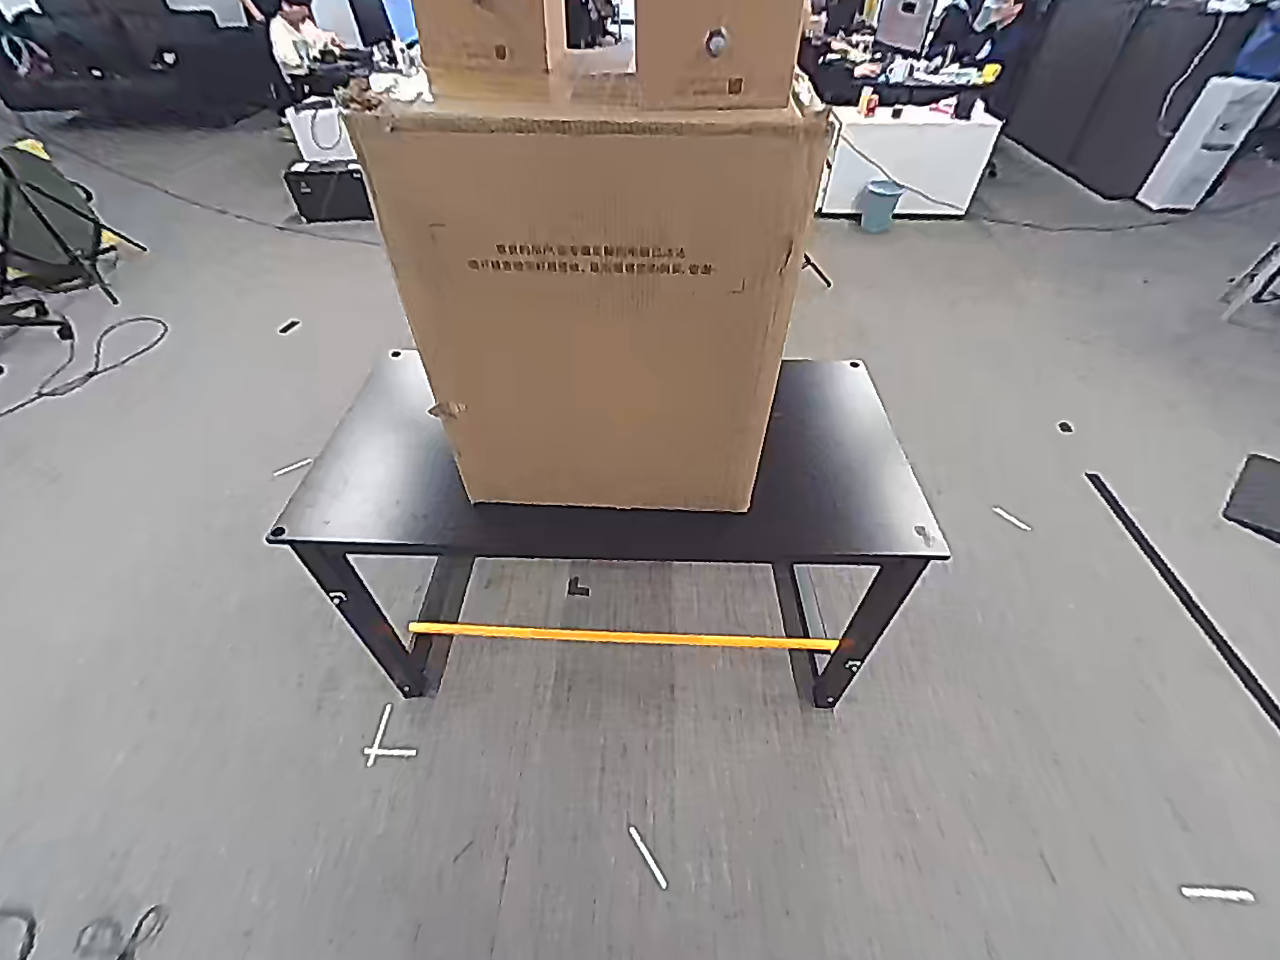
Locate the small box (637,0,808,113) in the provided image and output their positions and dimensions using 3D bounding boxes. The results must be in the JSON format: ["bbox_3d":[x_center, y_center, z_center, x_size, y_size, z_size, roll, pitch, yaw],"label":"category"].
[{"bbox_3d":[0.080,-0.514,0.579,0.168,0.176,0.179,-1,47,1],"label":"small box"}]

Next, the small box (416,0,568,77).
[{"bbox_3d":[-0.189,-0.643,0.703,0.168,0.176,0.179,3,46,0],"label":"small box"}]
